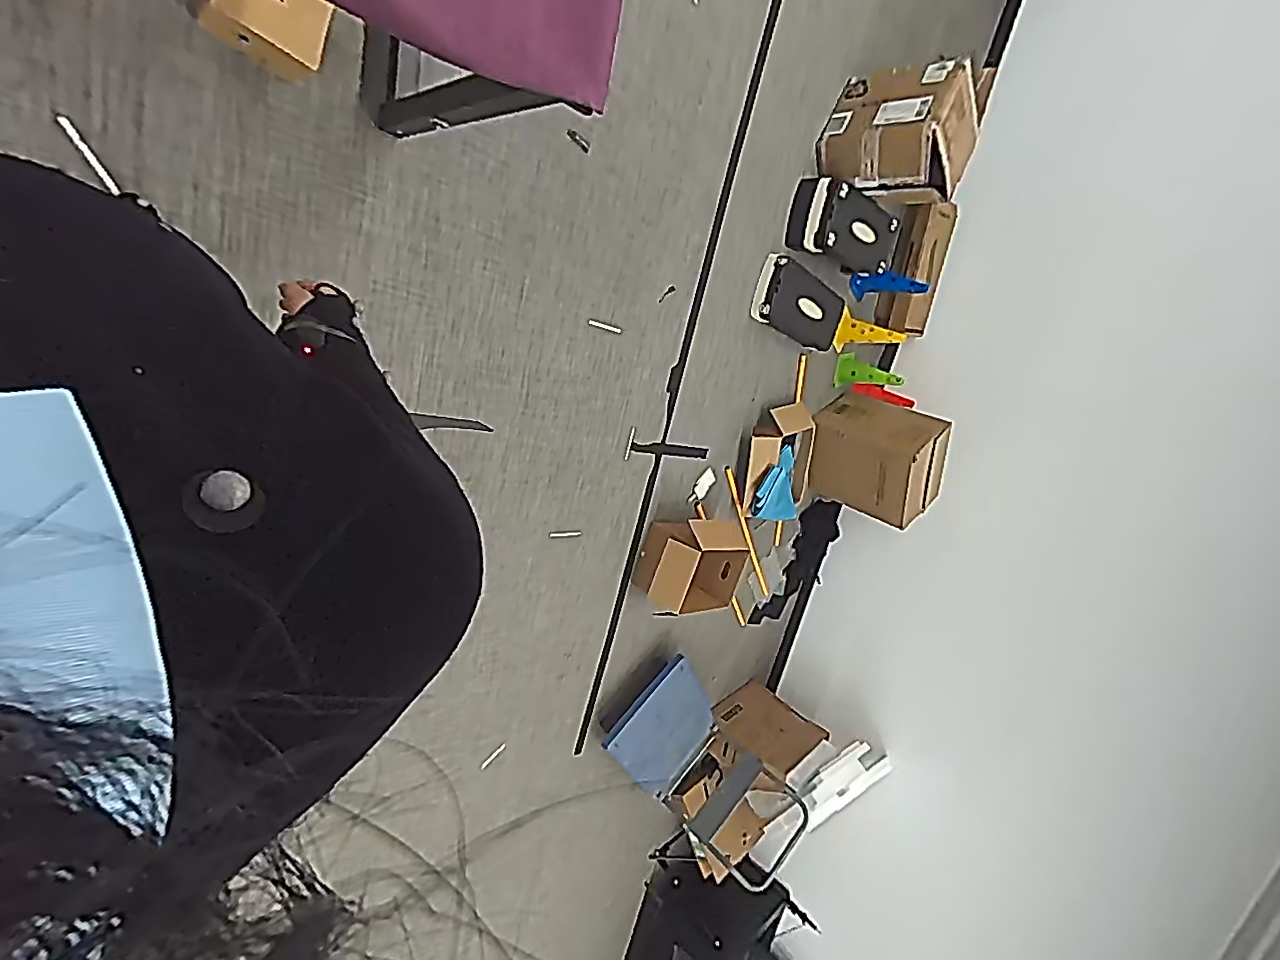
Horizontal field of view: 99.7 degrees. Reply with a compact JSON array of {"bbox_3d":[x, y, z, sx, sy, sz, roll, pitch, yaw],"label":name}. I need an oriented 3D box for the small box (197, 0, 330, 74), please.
[{"bbox_3d":[-0.696,-0.900,1.003,0.168,0.176,0.179,13,100,-49],"label":"small box"}]
